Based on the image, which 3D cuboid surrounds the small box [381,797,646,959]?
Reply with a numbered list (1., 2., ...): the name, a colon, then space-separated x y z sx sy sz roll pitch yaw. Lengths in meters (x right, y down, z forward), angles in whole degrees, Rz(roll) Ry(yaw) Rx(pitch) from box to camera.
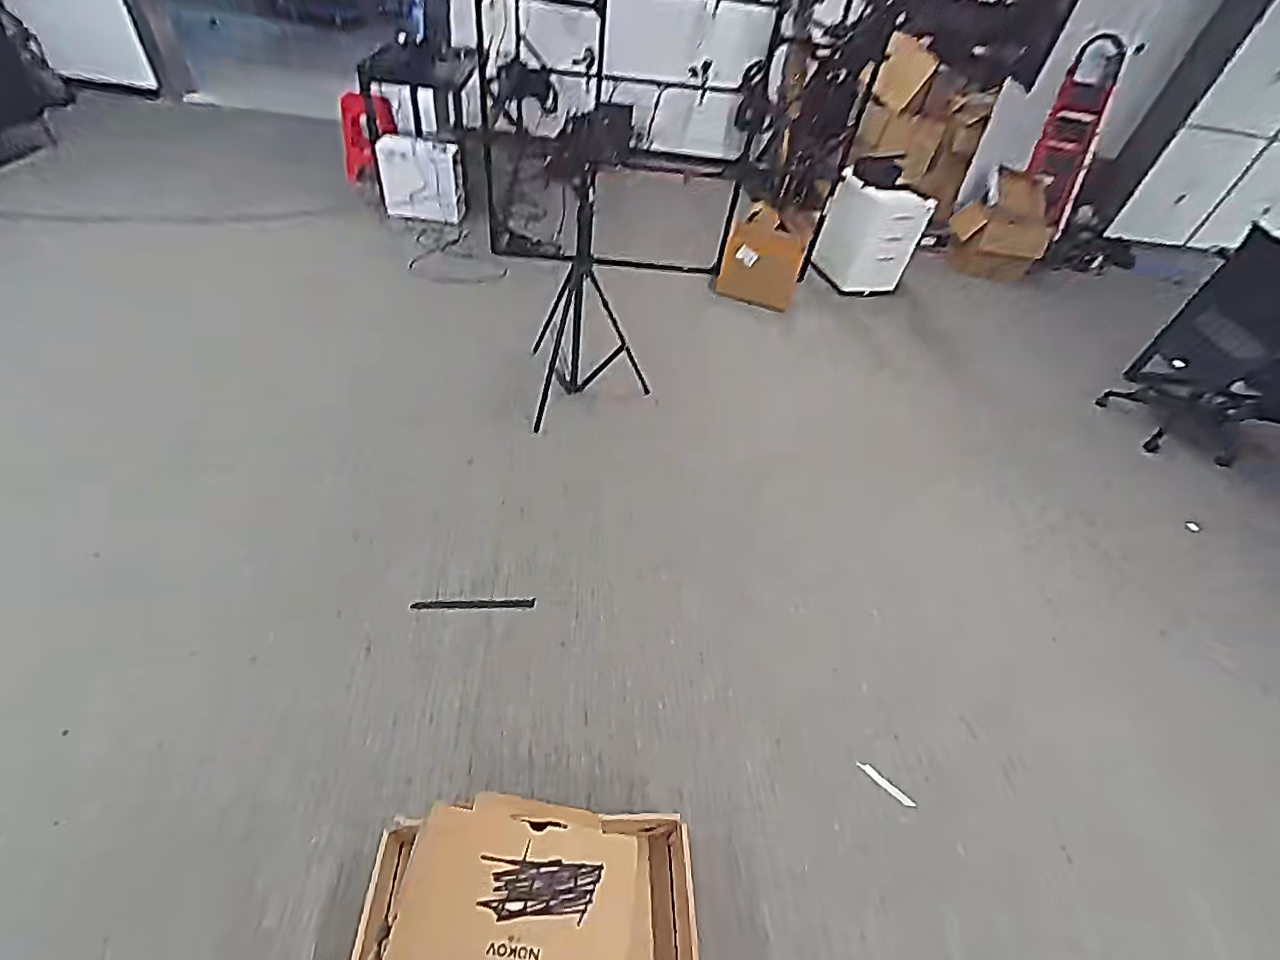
1. small box: -0.106 0.366 0.407 0.168 0.176 0.179 18 46 -12
